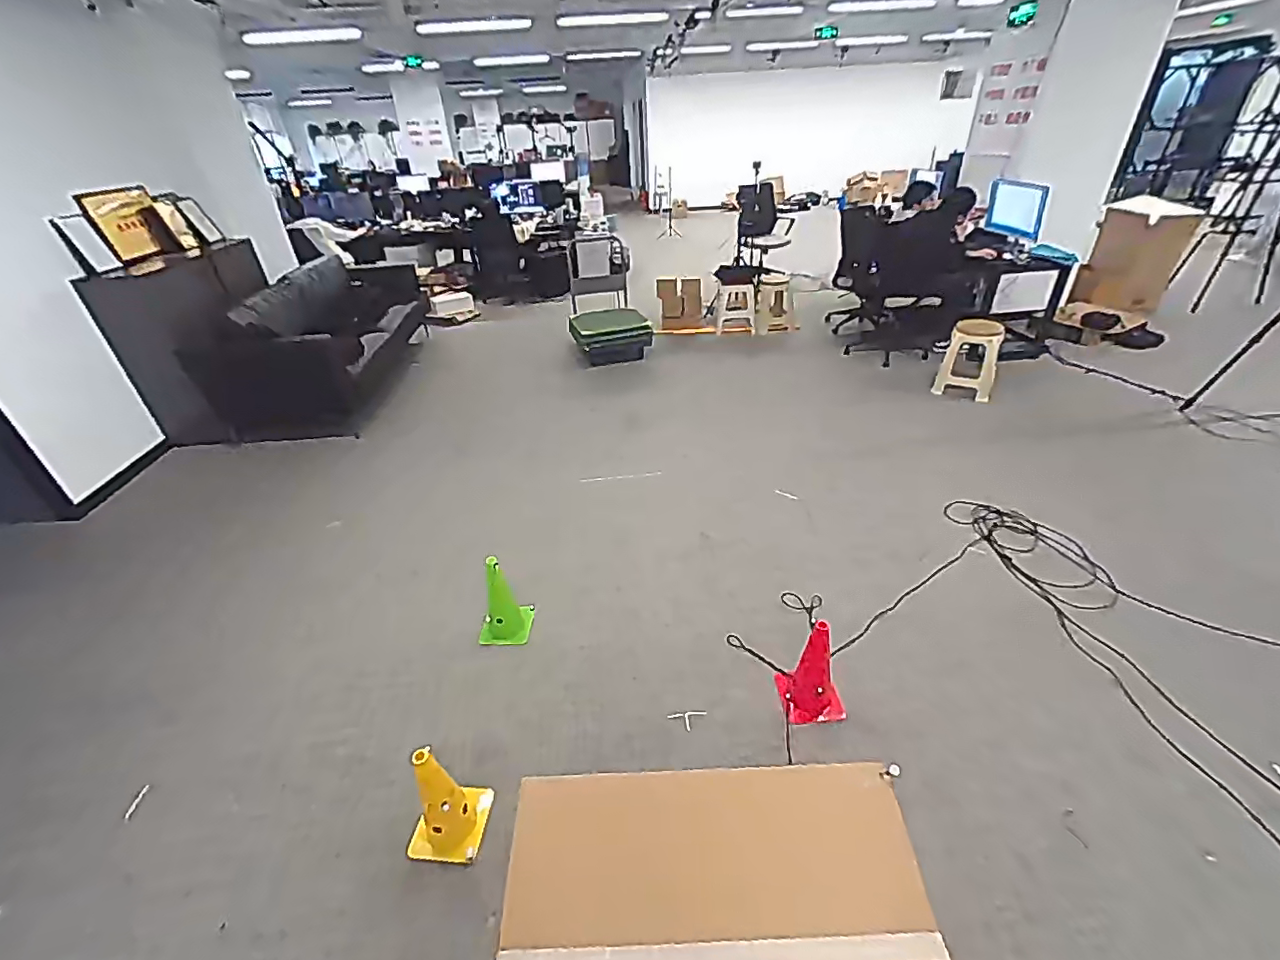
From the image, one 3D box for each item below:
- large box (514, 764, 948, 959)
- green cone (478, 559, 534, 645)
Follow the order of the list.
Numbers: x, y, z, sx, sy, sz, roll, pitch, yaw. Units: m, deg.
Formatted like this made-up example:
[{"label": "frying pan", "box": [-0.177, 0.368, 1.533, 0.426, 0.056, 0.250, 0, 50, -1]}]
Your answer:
[{"label": "large box", "box": [0.086, 0.544, 0.595, 0.408, 0.320, 0.320, -4, 44, 1]}, {"label": "green cone", "box": [-0.556, 0.452, 2.111, 0.200, 0.368, 0.202, -2, 35, 3]}]
